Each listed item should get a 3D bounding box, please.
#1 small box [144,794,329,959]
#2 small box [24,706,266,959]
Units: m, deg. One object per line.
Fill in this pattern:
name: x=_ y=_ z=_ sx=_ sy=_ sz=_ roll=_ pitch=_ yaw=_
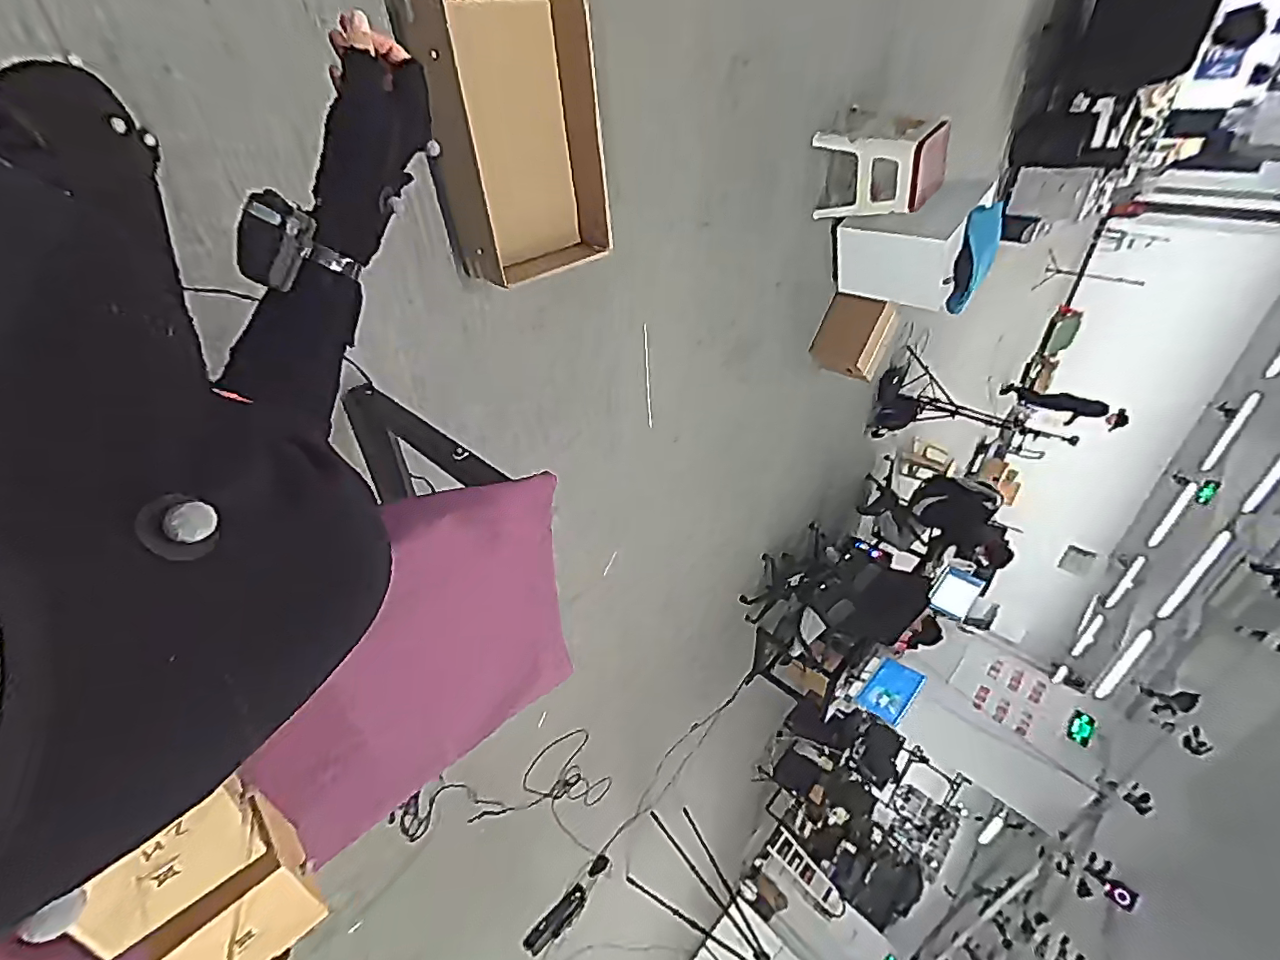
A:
small box: x=-0.608 y=0.614 z=0.806 sx=0.168 sy=0.176 sz=0.179 roll=-32 pitch=135 yaw=-35
small box: x=-0.609 y=0.426 z=0.676 sx=0.168 sy=0.176 sz=0.179 roll=-28 pitch=132 yaw=-39
